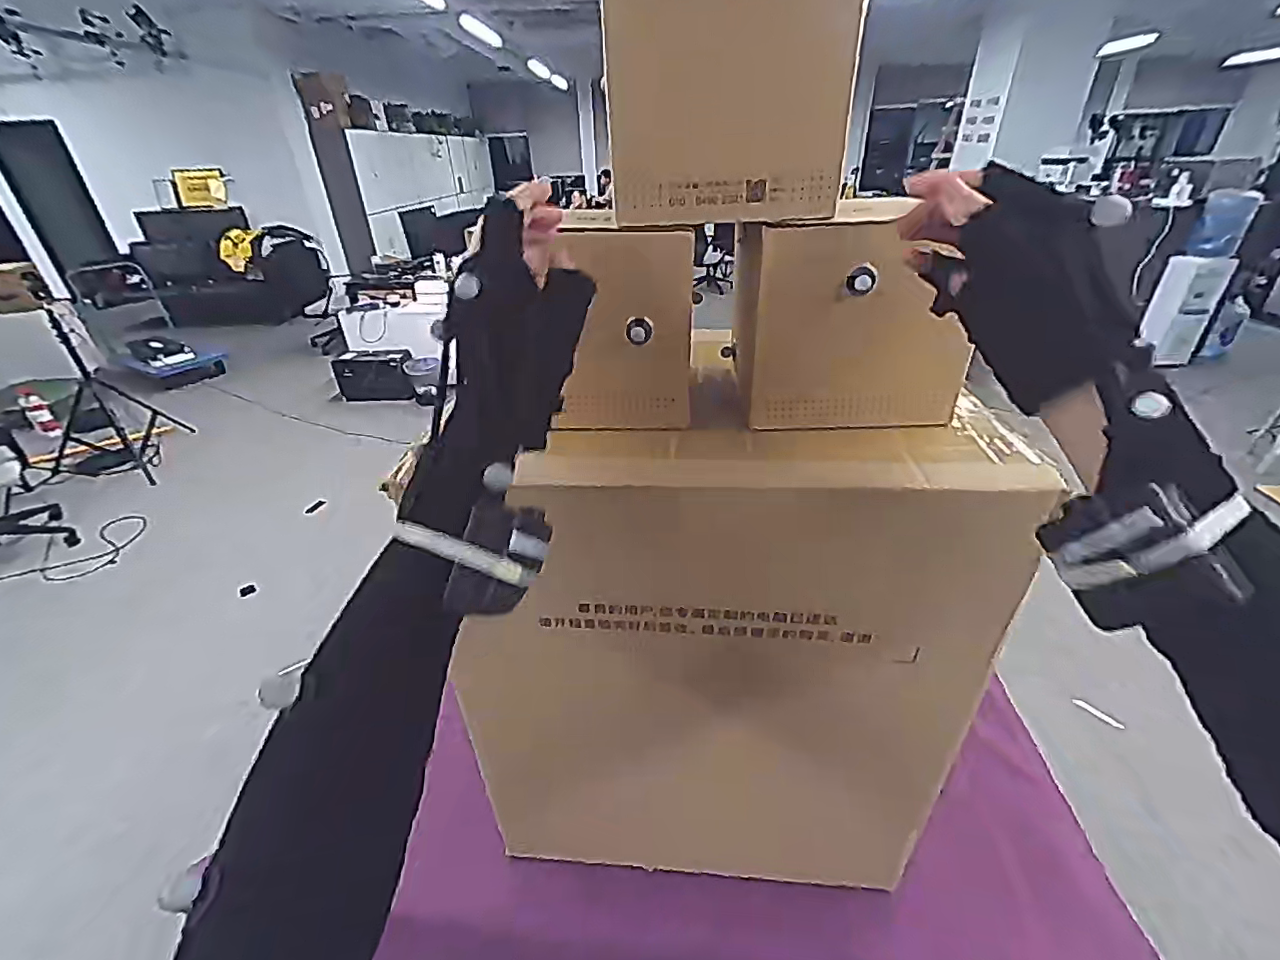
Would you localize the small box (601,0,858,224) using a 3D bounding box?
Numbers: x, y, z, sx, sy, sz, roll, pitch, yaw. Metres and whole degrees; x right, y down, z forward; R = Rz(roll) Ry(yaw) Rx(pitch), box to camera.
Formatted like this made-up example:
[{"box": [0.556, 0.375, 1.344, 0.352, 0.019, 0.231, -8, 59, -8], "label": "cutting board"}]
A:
[{"box": [0.060, -0.303, 0.433, 0.168, 0.176, 0.179, -1, 30, 4], "label": "small box"}]

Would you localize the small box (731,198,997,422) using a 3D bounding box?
[{"box": [0.179, -0.159, 0.500, 0.179, 0.176, 0.168, -1, 31, 2], "label": "small box"}]

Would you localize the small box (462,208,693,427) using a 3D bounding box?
[{"box": [-0.044, -0.156, 0.513, 0.179, 0.176, 0.168, 0, 30, 2], "label": "small box"}]
